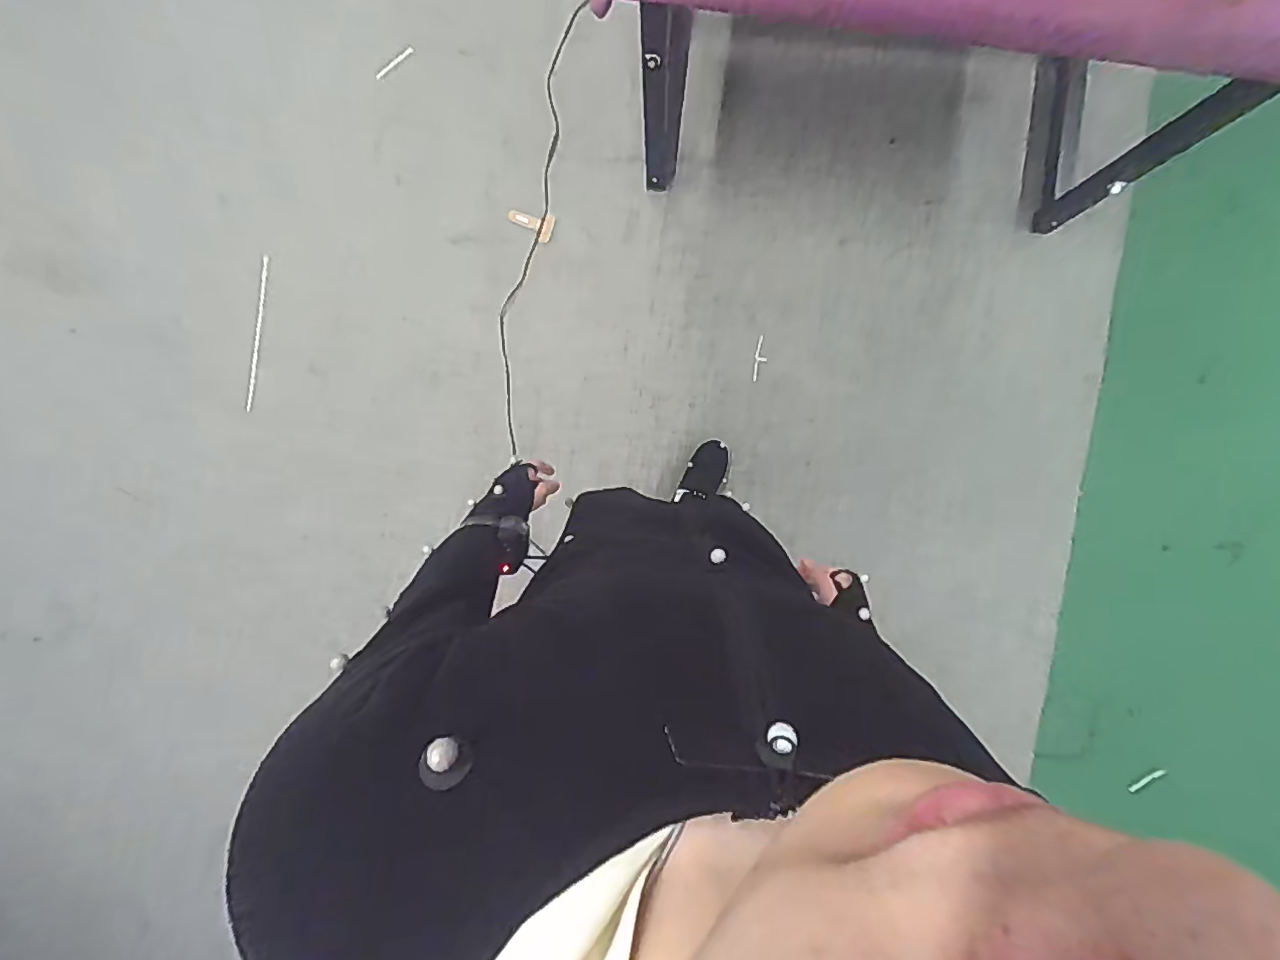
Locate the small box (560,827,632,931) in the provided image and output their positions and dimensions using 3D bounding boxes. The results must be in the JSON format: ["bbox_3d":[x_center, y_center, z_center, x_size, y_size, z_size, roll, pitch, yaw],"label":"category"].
[{"bbox_3d":[-0.120,1.141,1.560,0.179,0.176,0.168,8,91,2],"label":"small box"}]
